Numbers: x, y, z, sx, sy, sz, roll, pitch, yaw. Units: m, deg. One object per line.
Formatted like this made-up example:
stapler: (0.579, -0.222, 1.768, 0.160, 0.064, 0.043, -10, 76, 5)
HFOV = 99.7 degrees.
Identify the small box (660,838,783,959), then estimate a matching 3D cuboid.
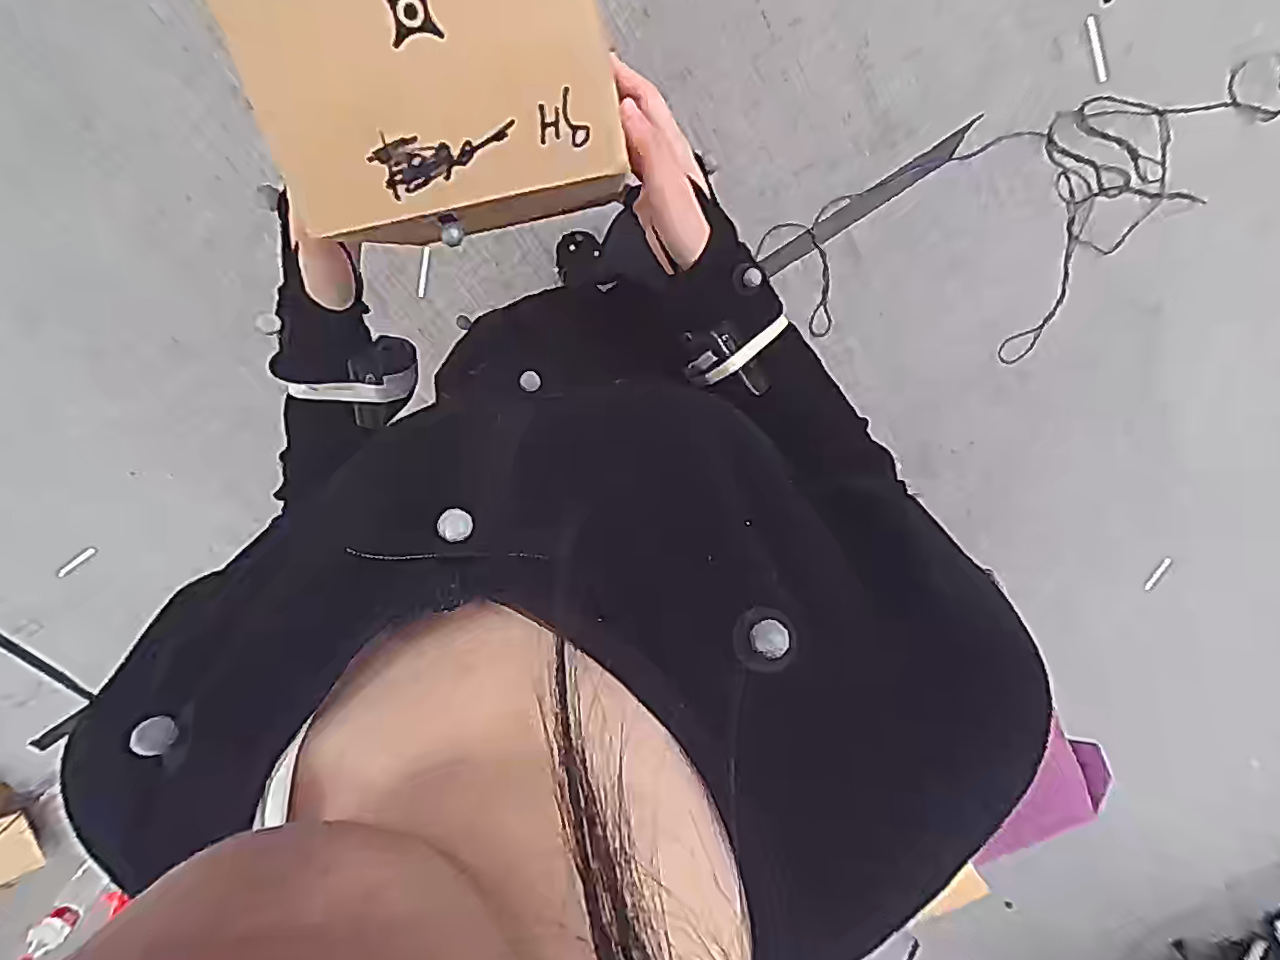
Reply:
small box: (0.154, 0.860, 1.079, 0.179, 0.176, 0.168, -30, 112, 10)

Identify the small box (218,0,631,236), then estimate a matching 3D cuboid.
small box: (-0.105, -0.248, 0.304, 0.168, 0.176, 0.179, -12, 113, 0)
